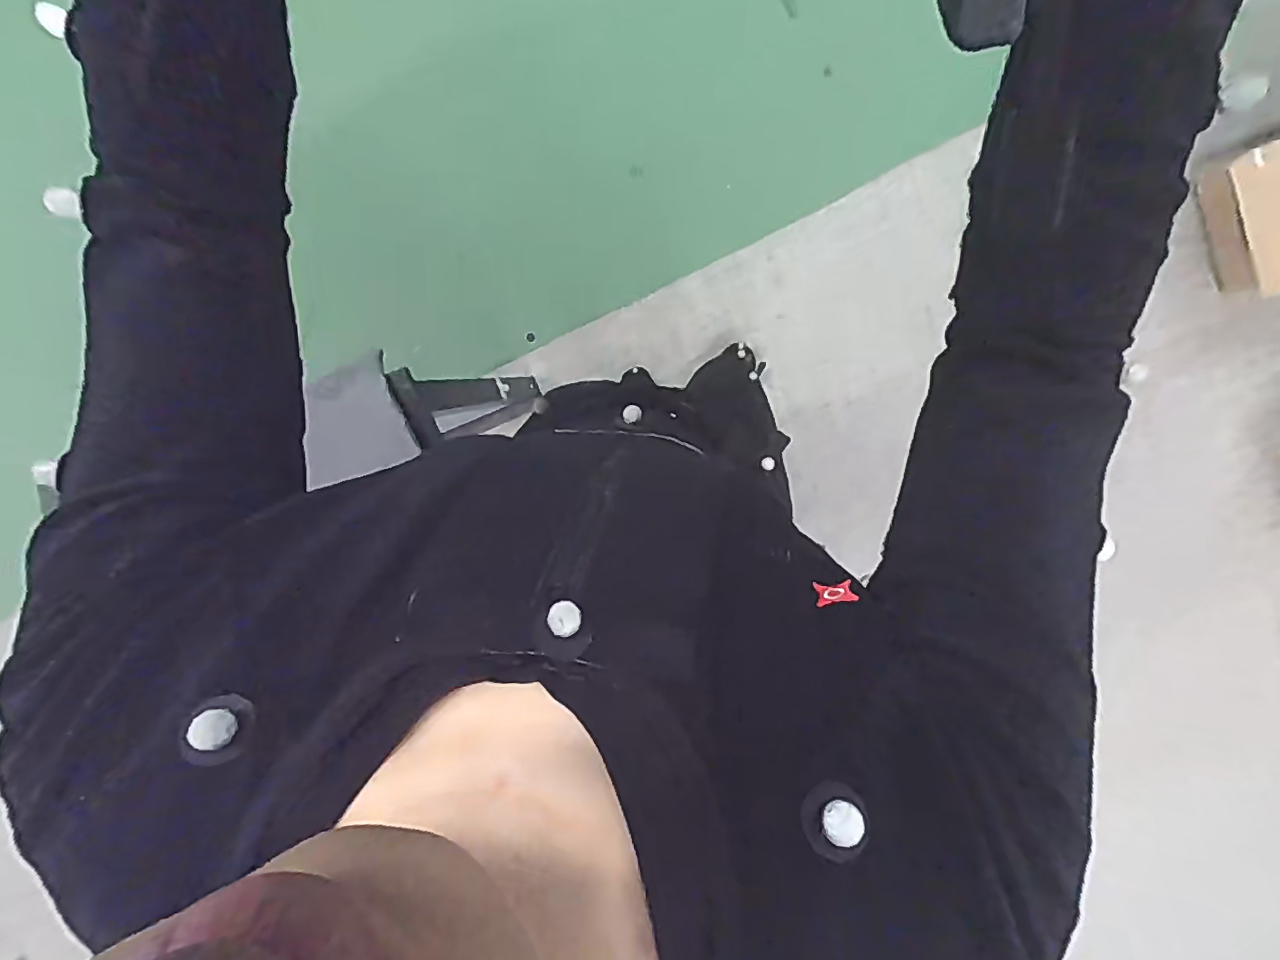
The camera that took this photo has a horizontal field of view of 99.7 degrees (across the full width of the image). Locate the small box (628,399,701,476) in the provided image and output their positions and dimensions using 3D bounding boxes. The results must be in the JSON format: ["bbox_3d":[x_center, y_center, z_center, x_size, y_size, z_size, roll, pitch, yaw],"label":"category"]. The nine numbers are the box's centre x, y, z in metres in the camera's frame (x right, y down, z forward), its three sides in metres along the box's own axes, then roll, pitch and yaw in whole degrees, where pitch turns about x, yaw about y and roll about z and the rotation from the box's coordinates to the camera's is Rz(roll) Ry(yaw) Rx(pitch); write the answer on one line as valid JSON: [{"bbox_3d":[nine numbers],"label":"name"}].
[{"bbox_3d":[0.059,-0.113,1.395,0.168,0.176,0.179,-1,103,-5],"label":"small box"}]
